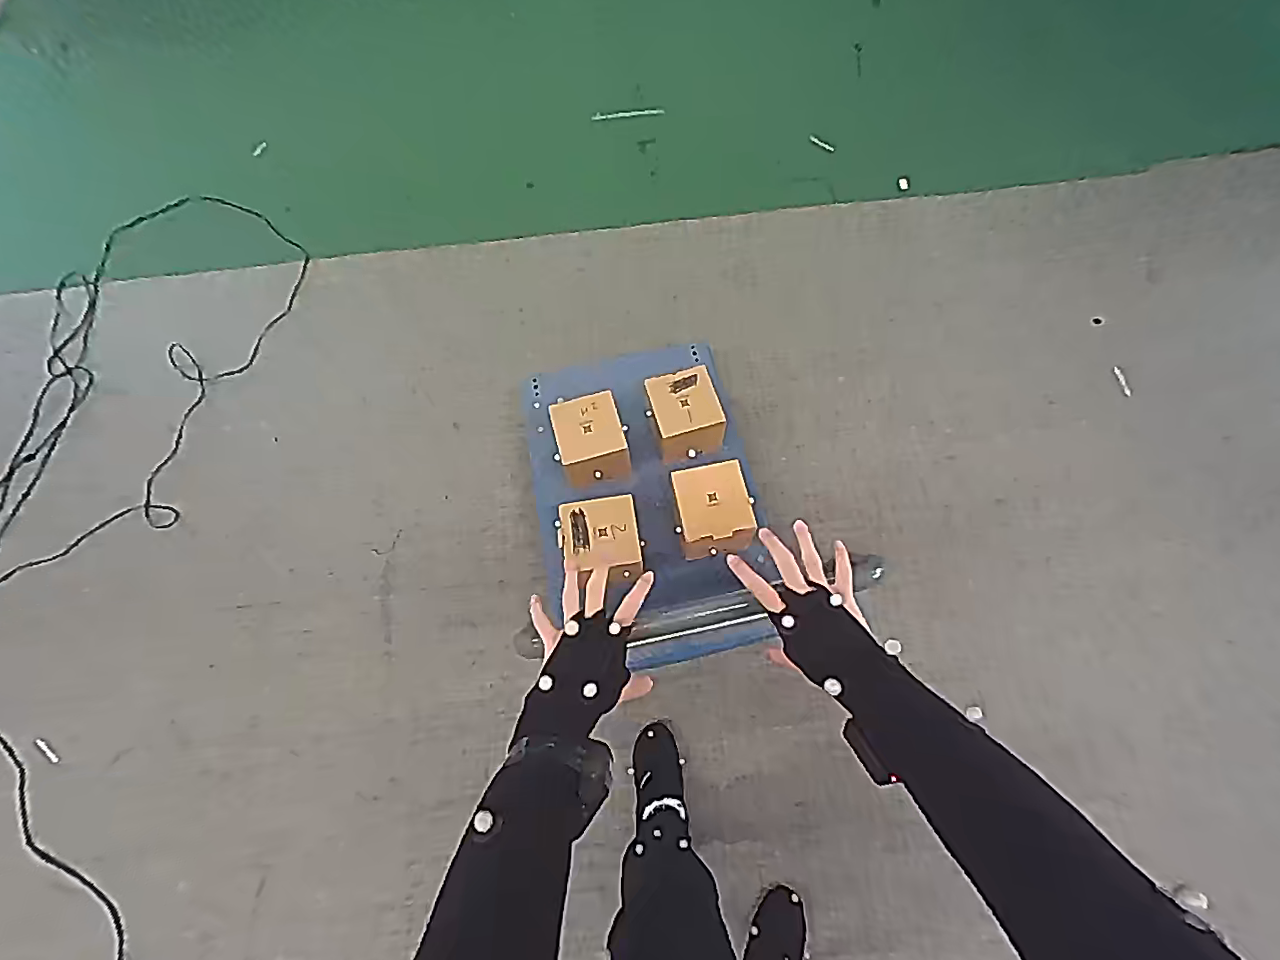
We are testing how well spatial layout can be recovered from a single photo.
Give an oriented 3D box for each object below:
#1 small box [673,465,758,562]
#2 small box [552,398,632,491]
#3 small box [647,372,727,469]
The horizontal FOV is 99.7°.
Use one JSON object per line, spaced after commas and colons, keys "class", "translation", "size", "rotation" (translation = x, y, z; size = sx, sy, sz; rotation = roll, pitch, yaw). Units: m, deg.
{"class": "small box", "translation": [0.177, 0.088, 1.339], "size": [0.168, 0.176, 0.179], "rotation": [-11, 67, -2]}
{"class": "small box", "translation": [-0.121, -0.086, 1.429], "size": [0.168, 0.176, 0.179], "rotation": [-15, 67, -4]}
{"class": "small box", "translation": [0.121, -0.155, 1.444], "size": [0.168, 0.176, 0.179], "rotation": [-16, 68, -3]}
